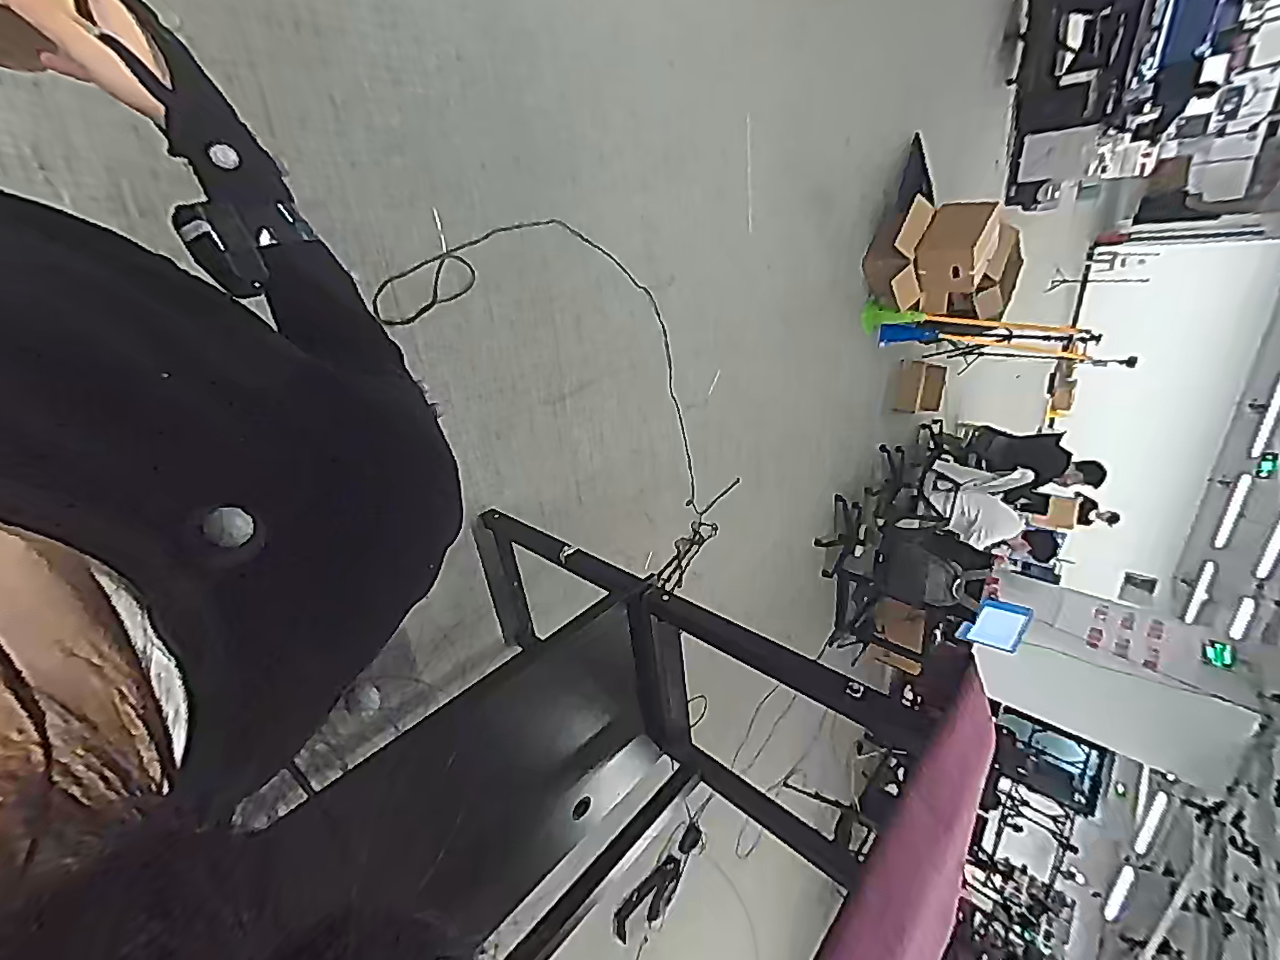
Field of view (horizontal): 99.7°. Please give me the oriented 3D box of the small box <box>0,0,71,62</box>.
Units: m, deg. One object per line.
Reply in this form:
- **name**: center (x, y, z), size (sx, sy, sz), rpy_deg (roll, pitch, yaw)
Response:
- **small box**: center (-0.442, -0.355, 0.280), size (0.168, 0.176, 0.179), rpy_deg (-20, 119, -47)
